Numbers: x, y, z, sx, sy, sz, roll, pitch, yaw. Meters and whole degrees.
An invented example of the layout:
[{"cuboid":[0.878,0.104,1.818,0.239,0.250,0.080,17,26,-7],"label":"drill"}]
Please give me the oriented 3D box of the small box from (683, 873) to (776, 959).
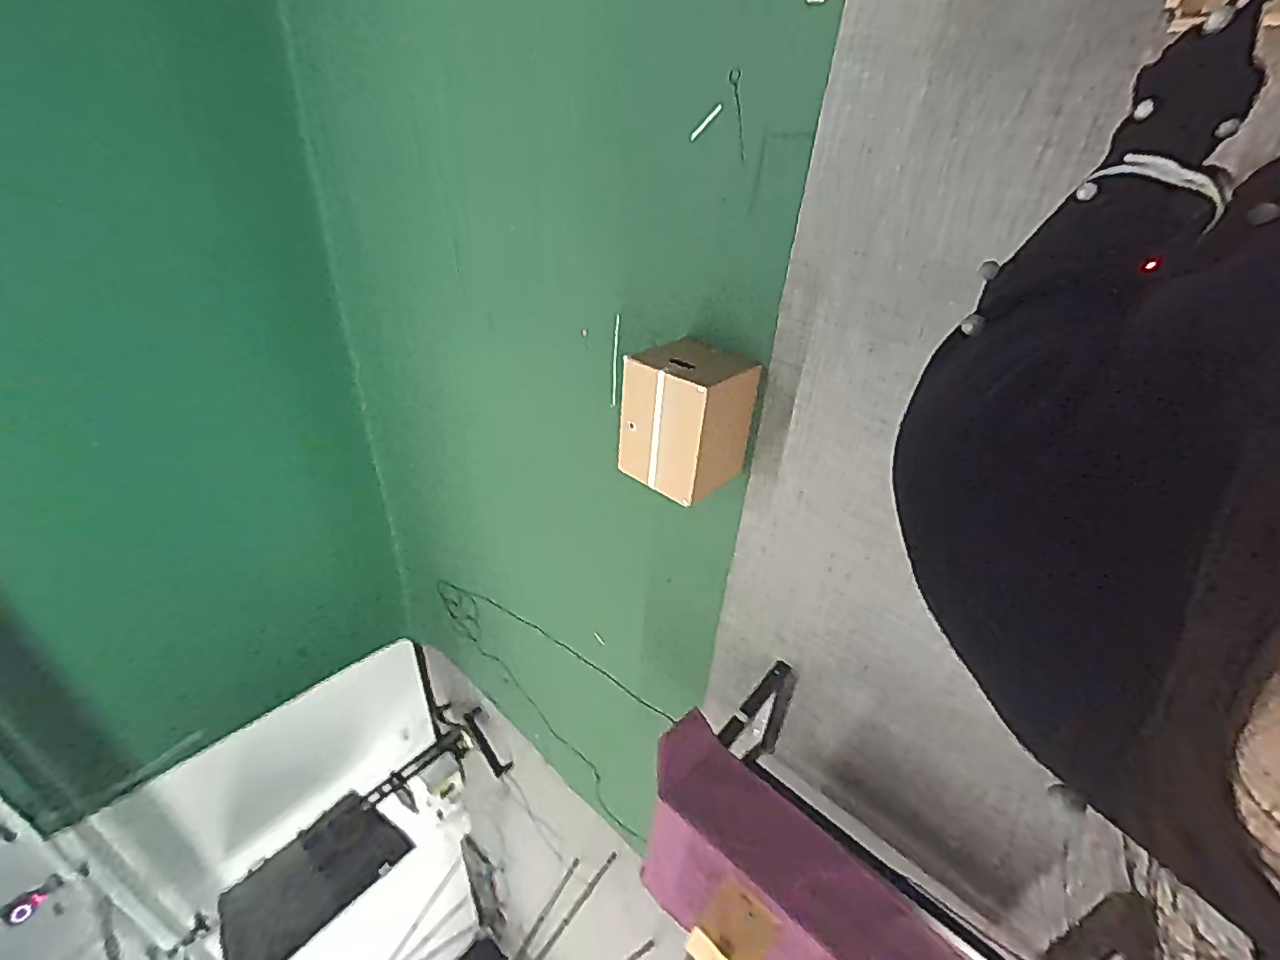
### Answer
[{"cuboid":[0.243,1.219,1.454,0.168,0.176,0.179,33,131,29],"label":"small box"}]
